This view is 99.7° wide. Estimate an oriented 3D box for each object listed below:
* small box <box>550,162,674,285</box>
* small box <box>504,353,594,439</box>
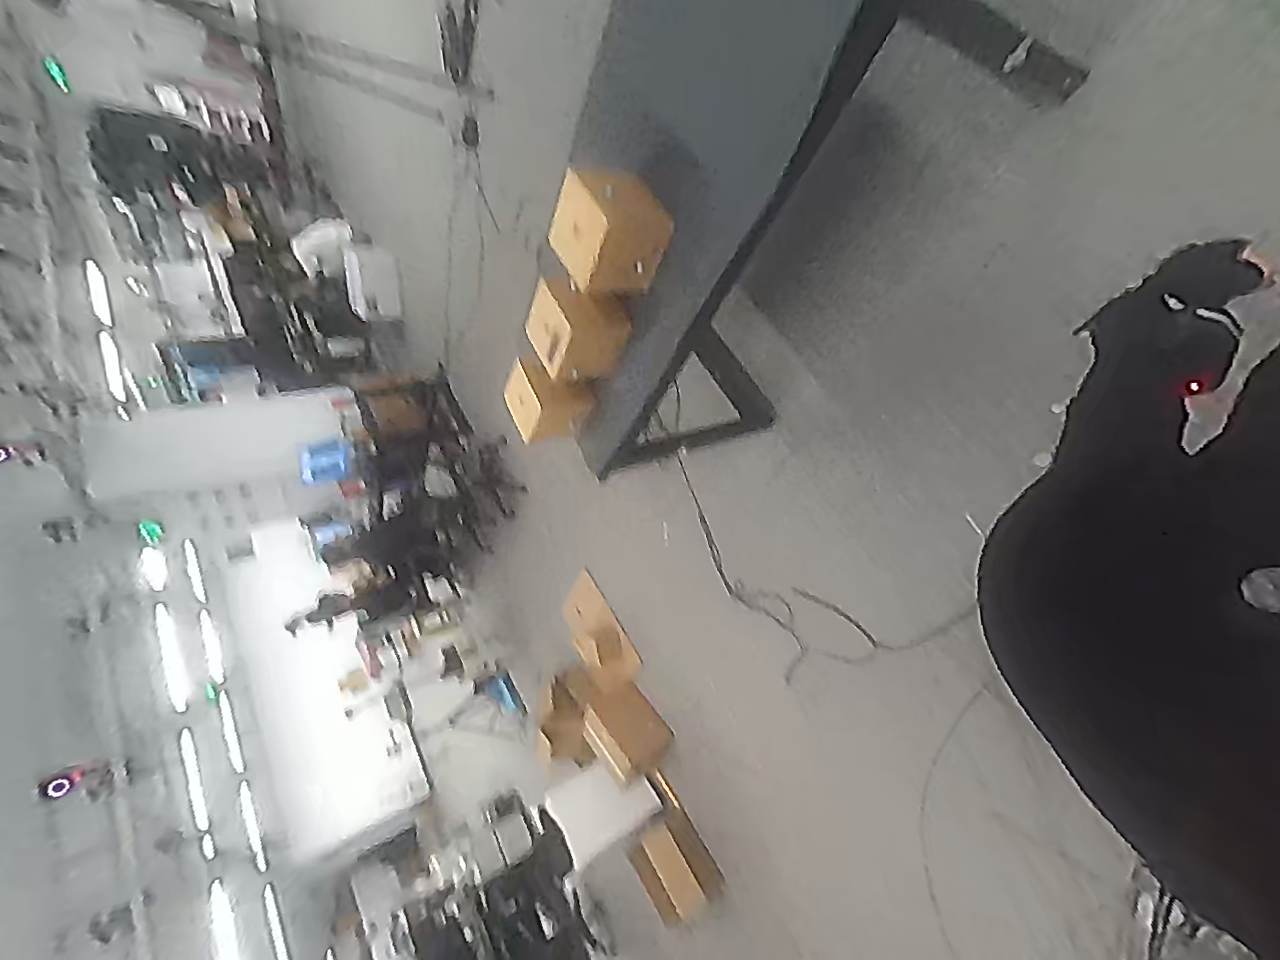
[{"bbox_3d":[-0.061,-0.530,1.137,0.179,0.176,0.168,58,142,21],"label":"small box"},{"bbox_3d":[-0.254,-0.237,1.506,0.179,0.176,0.168,62,143,19],"label":"small box"}]
